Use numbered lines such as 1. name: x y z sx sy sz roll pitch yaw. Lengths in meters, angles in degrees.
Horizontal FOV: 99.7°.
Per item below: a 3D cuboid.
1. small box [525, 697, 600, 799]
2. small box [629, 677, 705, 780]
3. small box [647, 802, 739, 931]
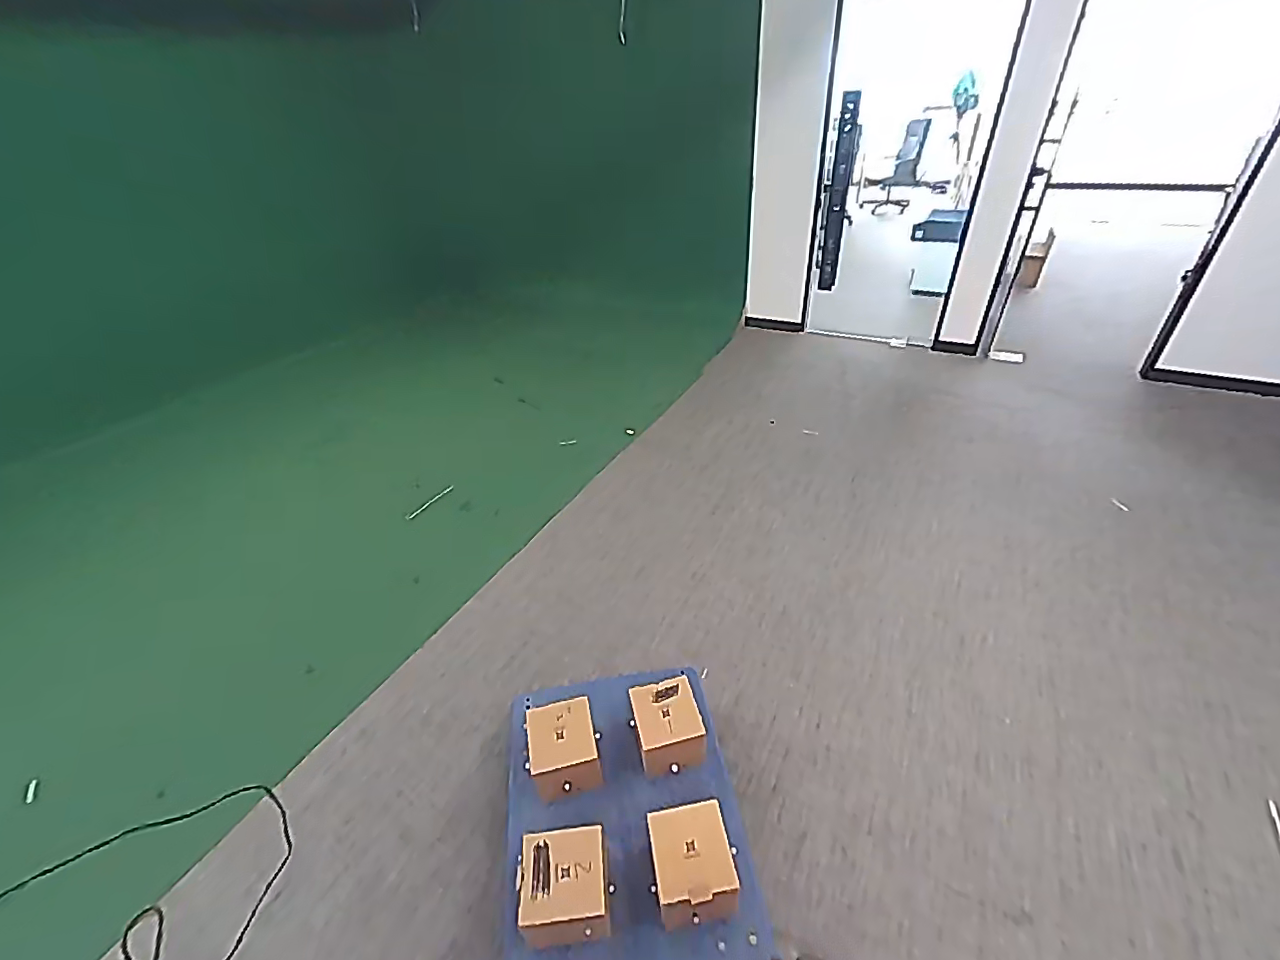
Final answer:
1. small box: -0.202 0.708 1.418 0.168 0.176 0.179 -9 37 -9
2. small box: 0.069 0.667 1.452 0.168 0.176 0.179 -11 38 -8
3. small box: 0.110 0.855 1.199 0.168 0.176 0.179 -8 37 -6
